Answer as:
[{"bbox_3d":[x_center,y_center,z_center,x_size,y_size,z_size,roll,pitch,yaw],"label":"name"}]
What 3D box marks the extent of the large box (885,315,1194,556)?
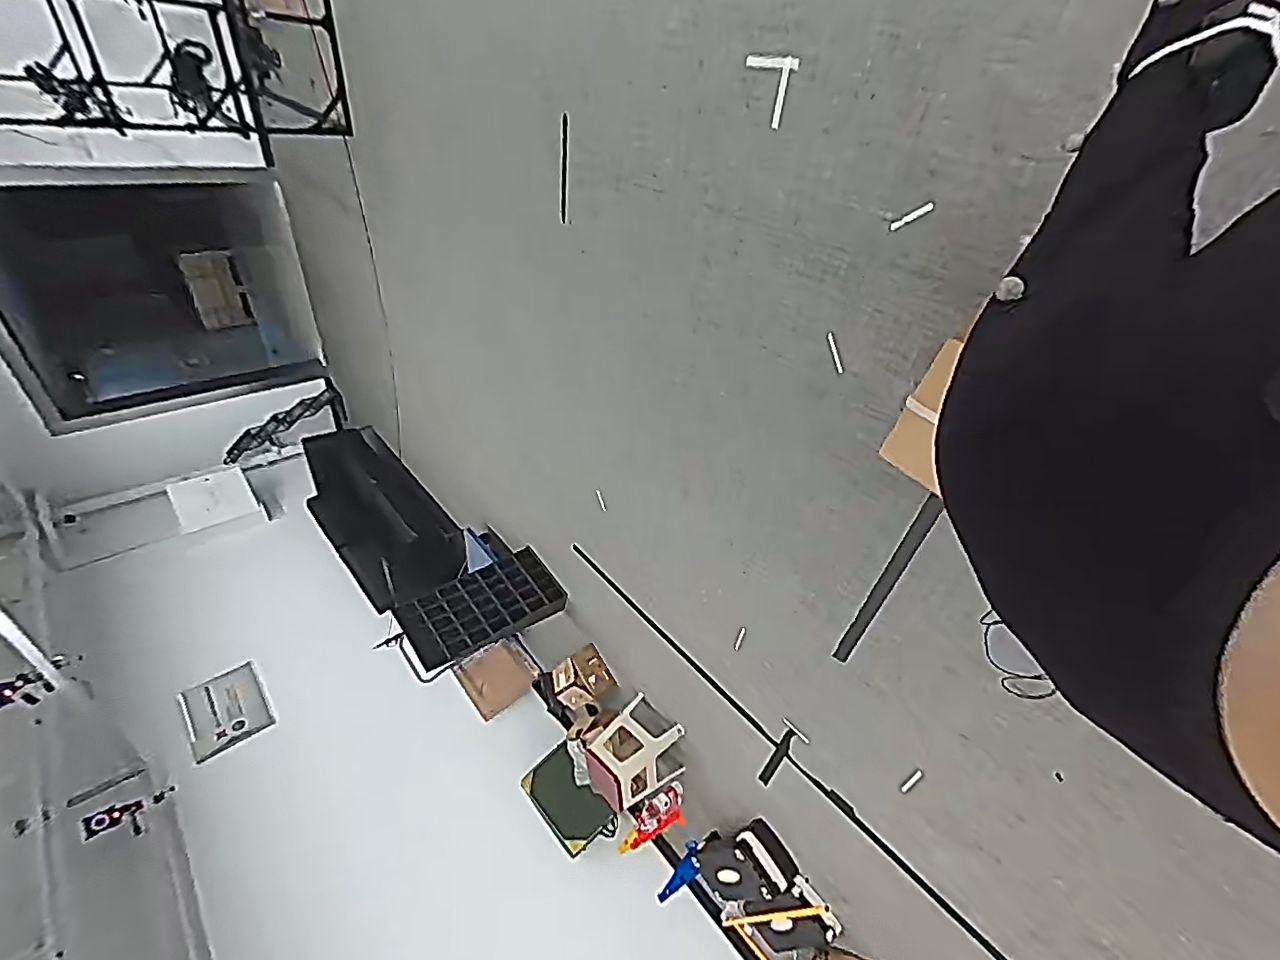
[{"bbox_3d":[0.842,-0.120,1.178,0.408,0.320,0.320,42,138,28],"label":"large box"}]
